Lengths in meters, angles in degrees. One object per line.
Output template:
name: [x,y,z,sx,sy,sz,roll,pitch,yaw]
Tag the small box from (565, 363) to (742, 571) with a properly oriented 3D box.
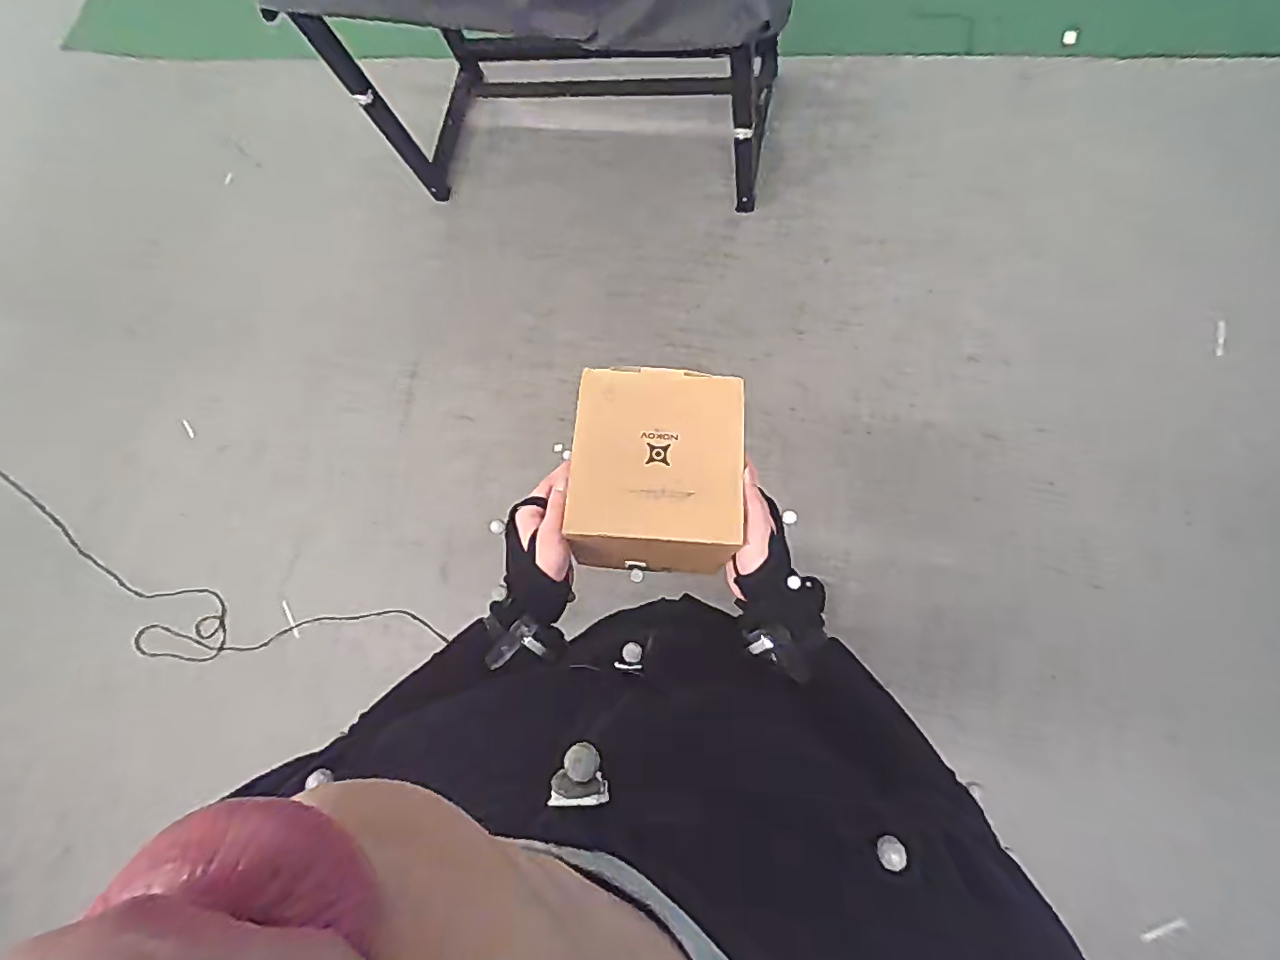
small box: [0.014,-0.005,0.598,0.168,0.176,0.179,4,71,0]
